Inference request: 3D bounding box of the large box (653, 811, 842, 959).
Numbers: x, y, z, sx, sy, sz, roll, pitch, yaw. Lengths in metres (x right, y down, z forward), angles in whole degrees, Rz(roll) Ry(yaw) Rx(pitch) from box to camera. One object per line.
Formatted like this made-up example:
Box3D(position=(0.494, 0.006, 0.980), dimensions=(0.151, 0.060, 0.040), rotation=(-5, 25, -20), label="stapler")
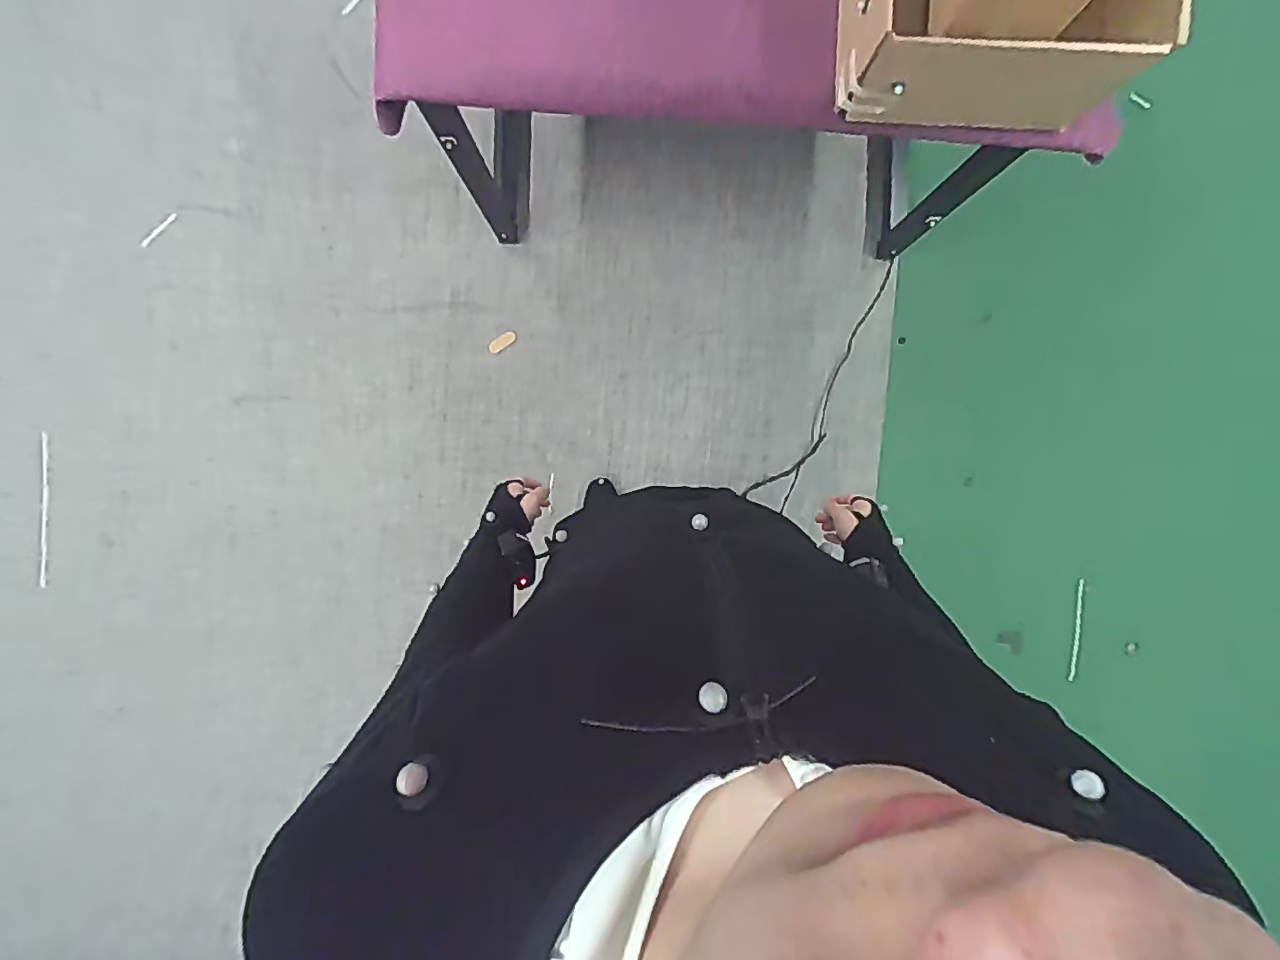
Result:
Box3D(position=(0.287, 1.245, 1.520), dimensions=(0.408, 0.320, 0.320), rotation=(-29, 92, -1), label="large box")
